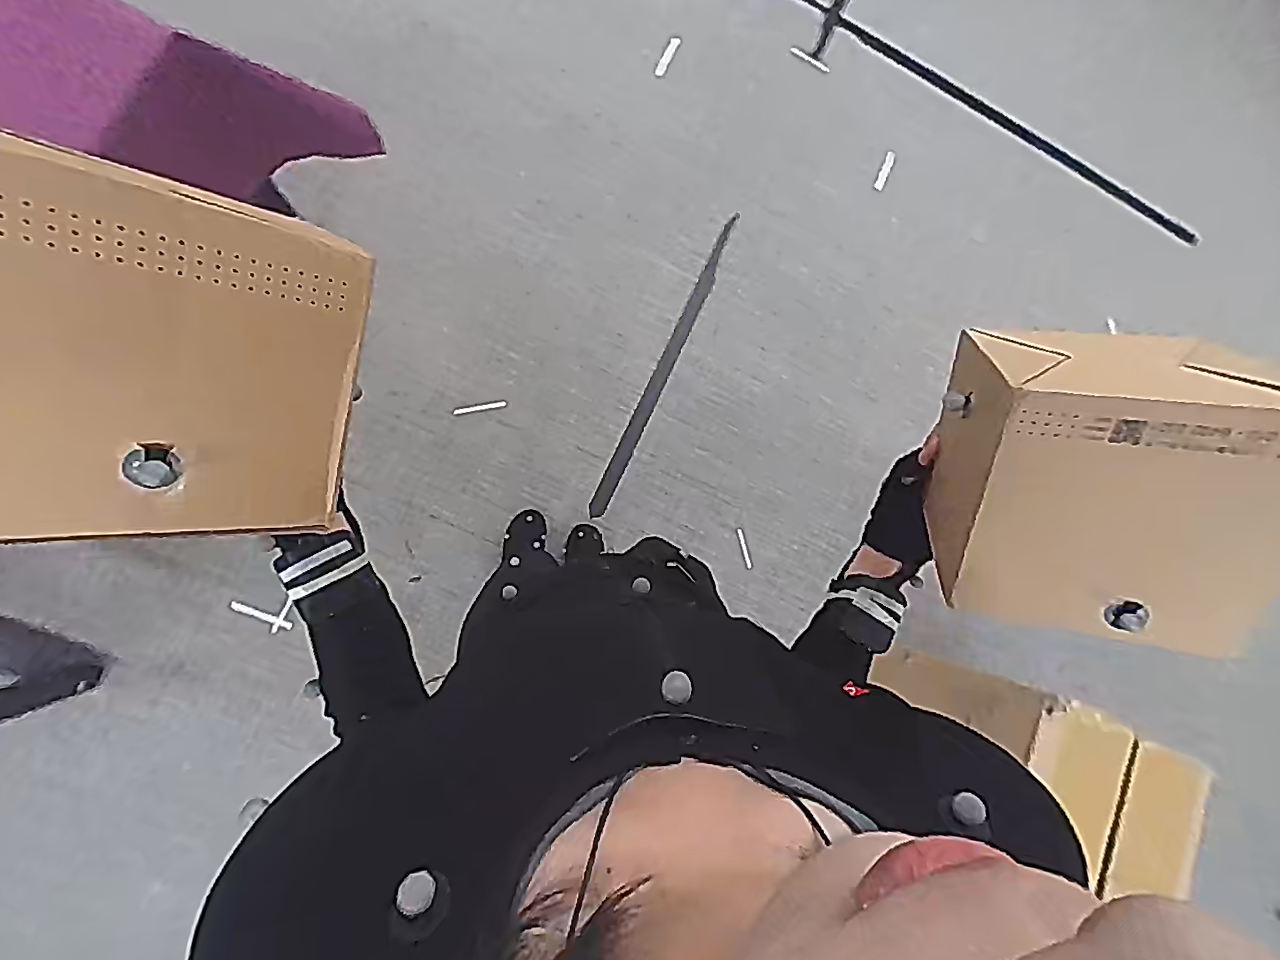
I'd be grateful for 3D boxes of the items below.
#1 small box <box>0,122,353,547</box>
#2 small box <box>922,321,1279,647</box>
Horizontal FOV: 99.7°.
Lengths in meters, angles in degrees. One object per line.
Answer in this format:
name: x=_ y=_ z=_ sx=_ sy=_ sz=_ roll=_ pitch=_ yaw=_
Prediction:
small box: x=-0.275 y=-0.080 z=0.294 sx=0.179 sy=0.168 sz=0.176 roll=2 pitch=112 yaw=-43
small box: x=0.320 y=-0.017 z=0.392 sx=0.168 sy=0.179 sz=0.176 roll=7 pitch=119 yaw=18
